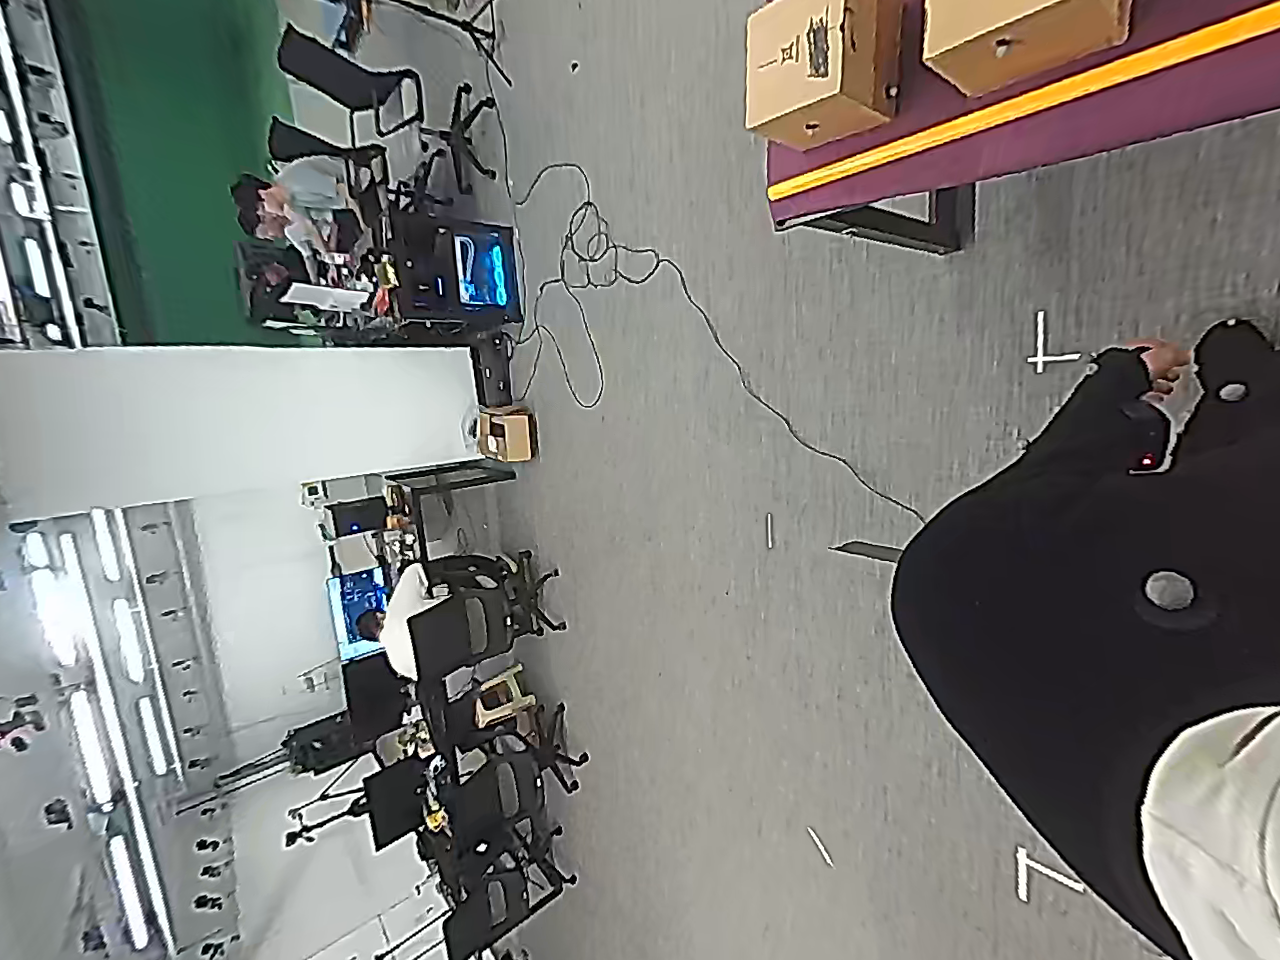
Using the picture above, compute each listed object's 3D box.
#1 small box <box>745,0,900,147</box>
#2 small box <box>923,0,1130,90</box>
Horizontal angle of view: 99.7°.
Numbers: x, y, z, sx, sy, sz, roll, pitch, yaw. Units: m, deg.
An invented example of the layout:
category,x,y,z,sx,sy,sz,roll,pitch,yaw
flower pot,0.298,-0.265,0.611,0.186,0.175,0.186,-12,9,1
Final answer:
category,x,y,z,sx,sy,sz,roll,pitch,yaw
small box,0.291,-0.659,0.863,0.179,0.176,0.168,15,111,49
small box,0.472,-0.612,0.651,0.179,0.176,0.168,13,109,51
